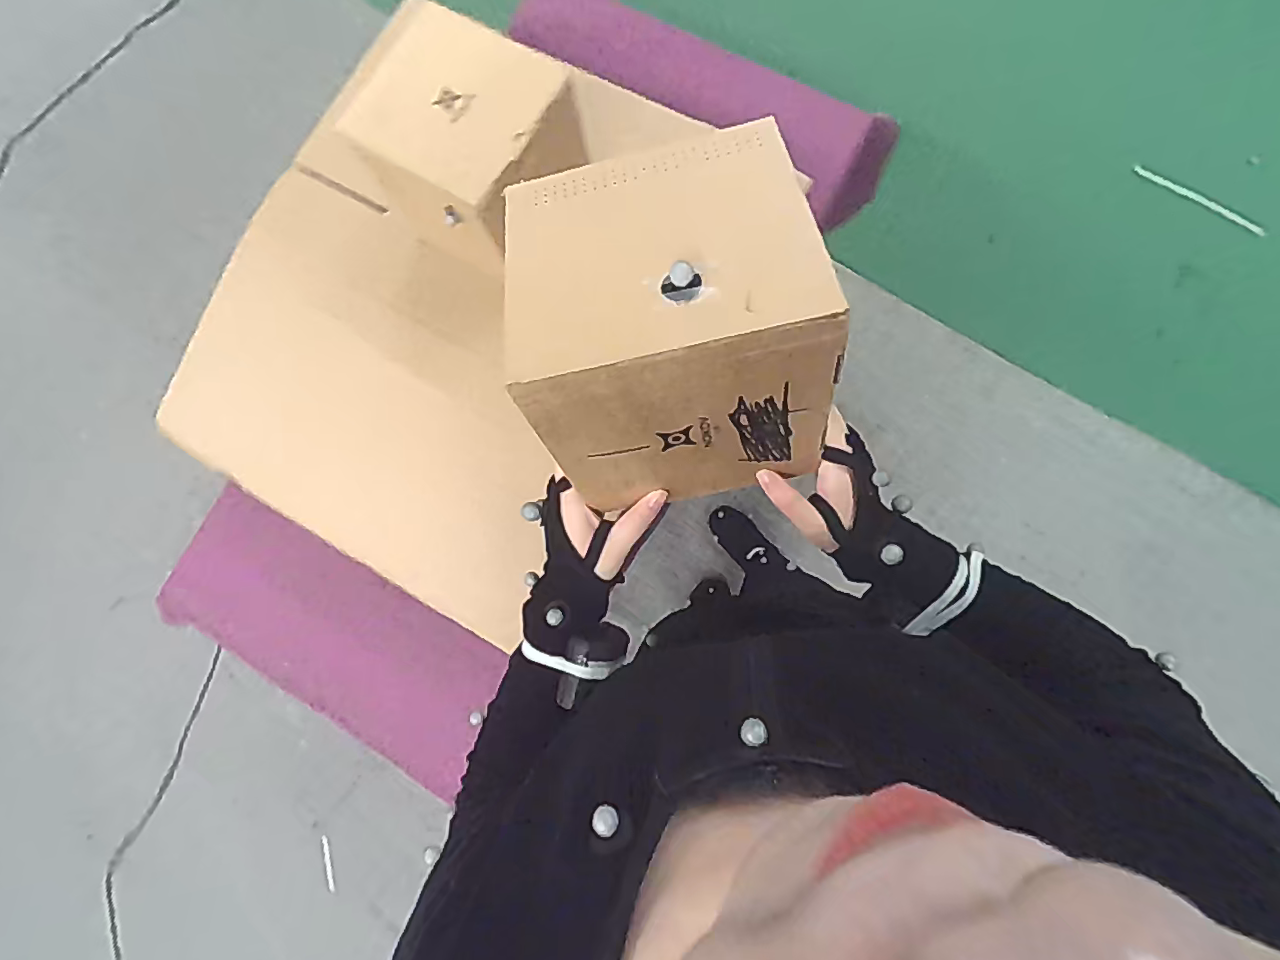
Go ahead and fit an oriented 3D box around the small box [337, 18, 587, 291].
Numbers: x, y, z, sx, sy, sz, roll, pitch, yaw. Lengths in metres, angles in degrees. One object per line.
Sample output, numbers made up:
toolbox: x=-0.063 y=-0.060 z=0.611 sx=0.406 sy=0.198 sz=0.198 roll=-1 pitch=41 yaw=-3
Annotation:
small box: x=-0.182 y=-0.347 z=0.610 sx=0.179 sy=0.176 sz=0.168 roll=31 pitch=85 yaw=7
